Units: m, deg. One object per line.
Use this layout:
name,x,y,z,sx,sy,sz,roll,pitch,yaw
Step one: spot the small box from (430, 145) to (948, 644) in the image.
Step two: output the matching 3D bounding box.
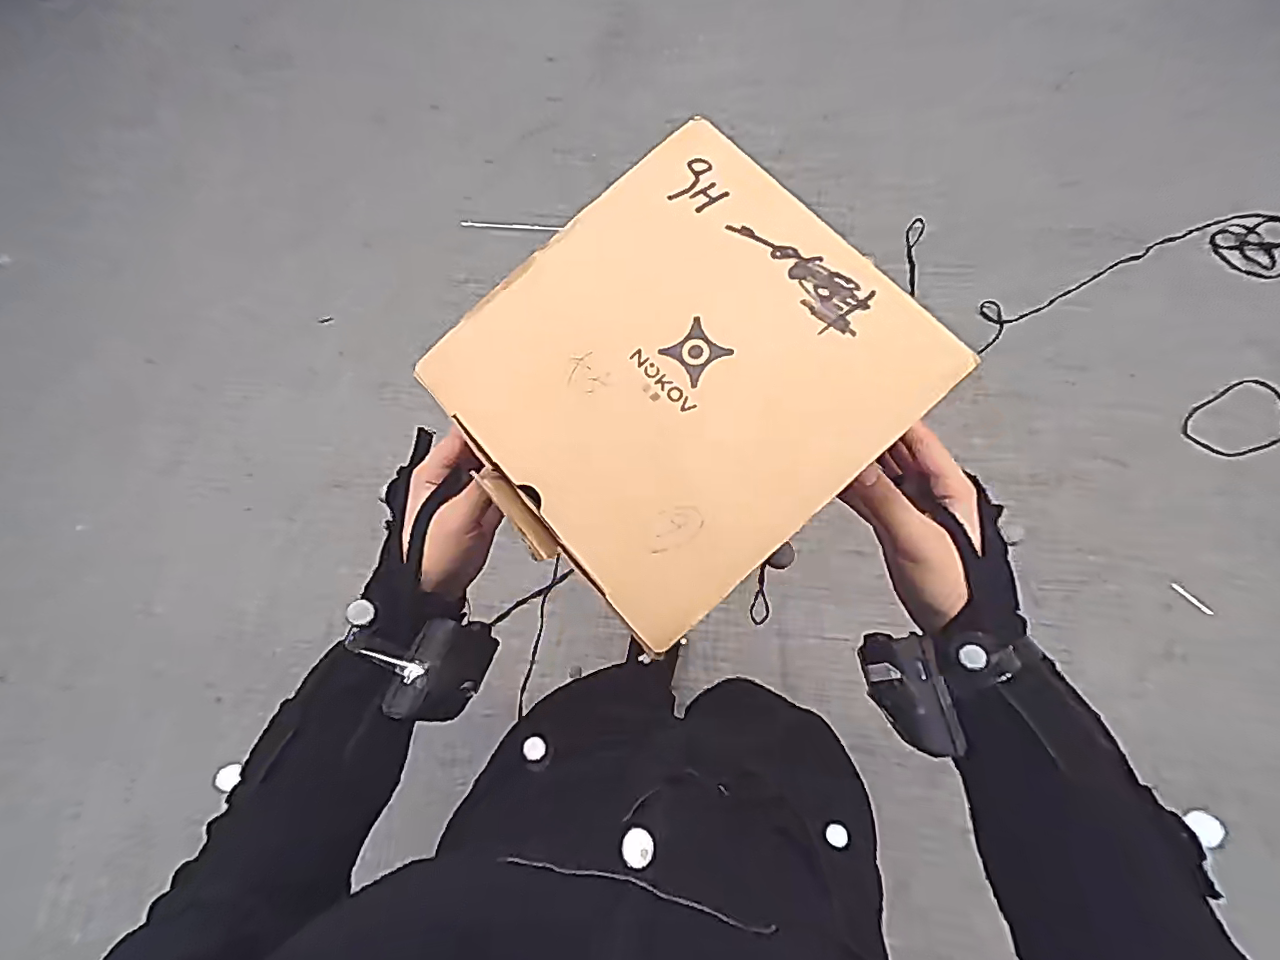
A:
small box,0.025,-0.032,0.318,0.179,0.176,0.168,-42,79,-1
